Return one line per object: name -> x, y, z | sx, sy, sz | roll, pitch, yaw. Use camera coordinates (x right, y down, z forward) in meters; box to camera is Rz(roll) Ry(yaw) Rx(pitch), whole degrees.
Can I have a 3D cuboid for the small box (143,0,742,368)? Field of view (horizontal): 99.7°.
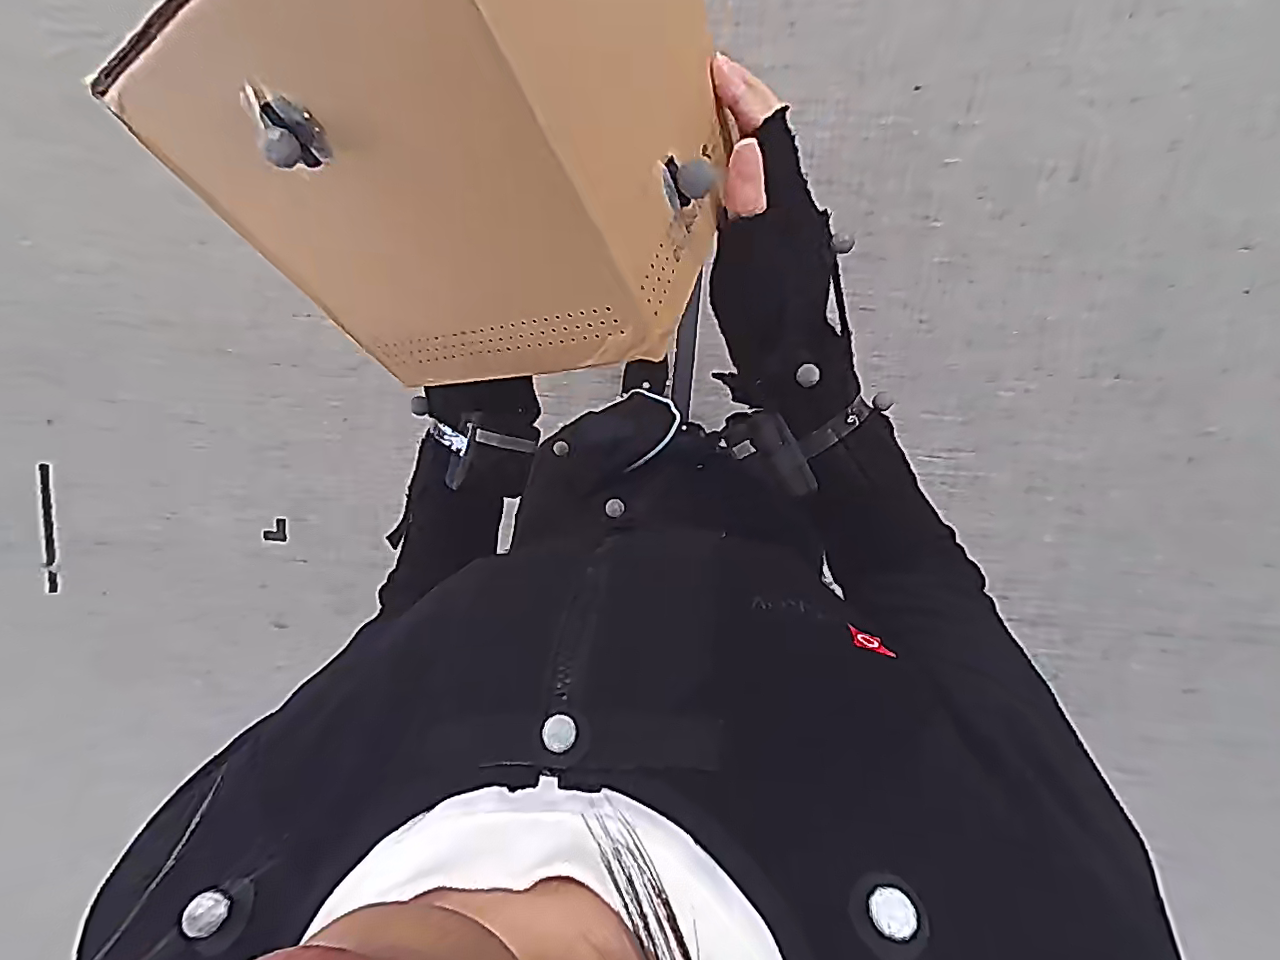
small box -> -0.071, -0.173, 0.268 | 0.179, 0.176, 0.168 | 2, 58, 32
